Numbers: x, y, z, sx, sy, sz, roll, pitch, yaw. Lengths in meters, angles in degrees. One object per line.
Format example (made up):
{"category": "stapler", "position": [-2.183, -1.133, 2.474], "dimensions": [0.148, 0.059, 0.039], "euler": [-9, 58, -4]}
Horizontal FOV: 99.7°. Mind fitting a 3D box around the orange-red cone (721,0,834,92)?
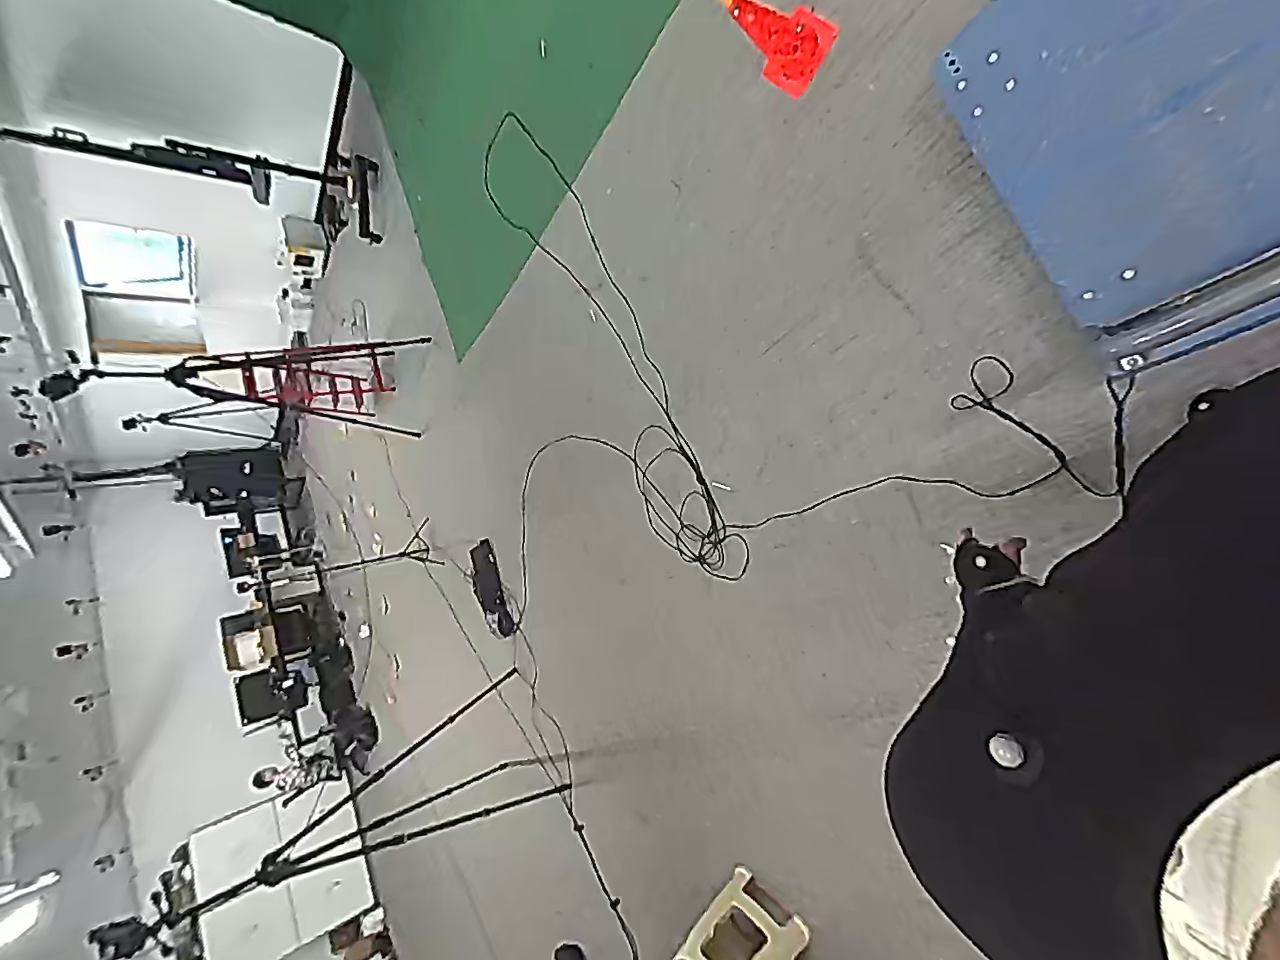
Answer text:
{"category": "orange-red cone", "position": [0.367, -1.341, 1.593], "dimensions": [0.198, 0.360, 0.199], "euler": [57, 135, 25]}
